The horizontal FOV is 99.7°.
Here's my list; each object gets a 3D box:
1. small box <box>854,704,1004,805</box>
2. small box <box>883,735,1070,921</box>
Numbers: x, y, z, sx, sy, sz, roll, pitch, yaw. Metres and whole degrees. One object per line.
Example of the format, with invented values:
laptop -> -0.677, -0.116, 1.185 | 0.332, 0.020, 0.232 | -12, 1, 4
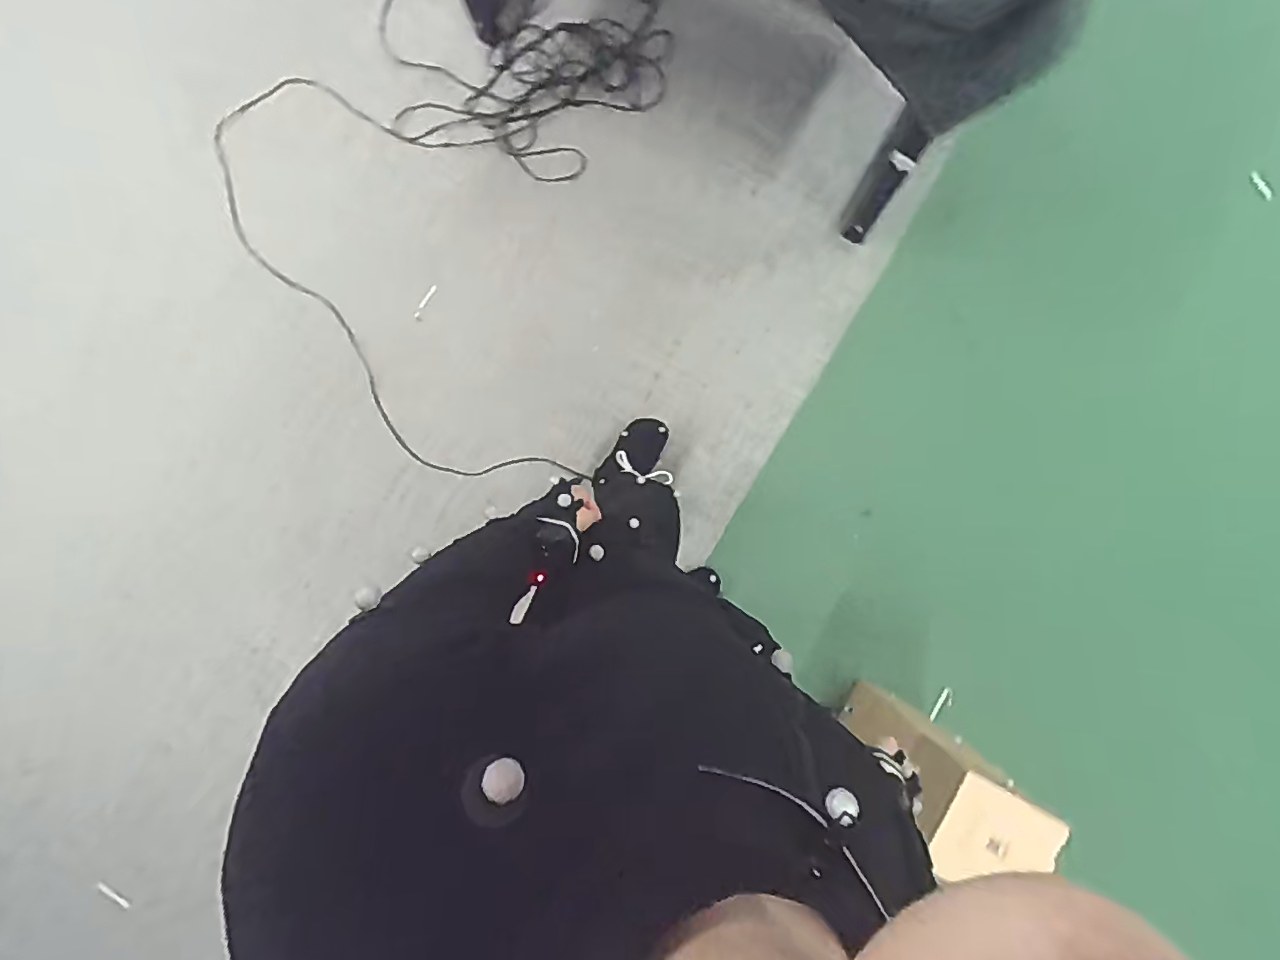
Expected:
small box -> 0.558, 0.572, 1.073 | 0.179, 0.176, 0.168 | 28, 88, 4
small box -> 0.551, 0.566, 0.910 | 0.179, 0.176, 0.168 | 29, 87, 5
